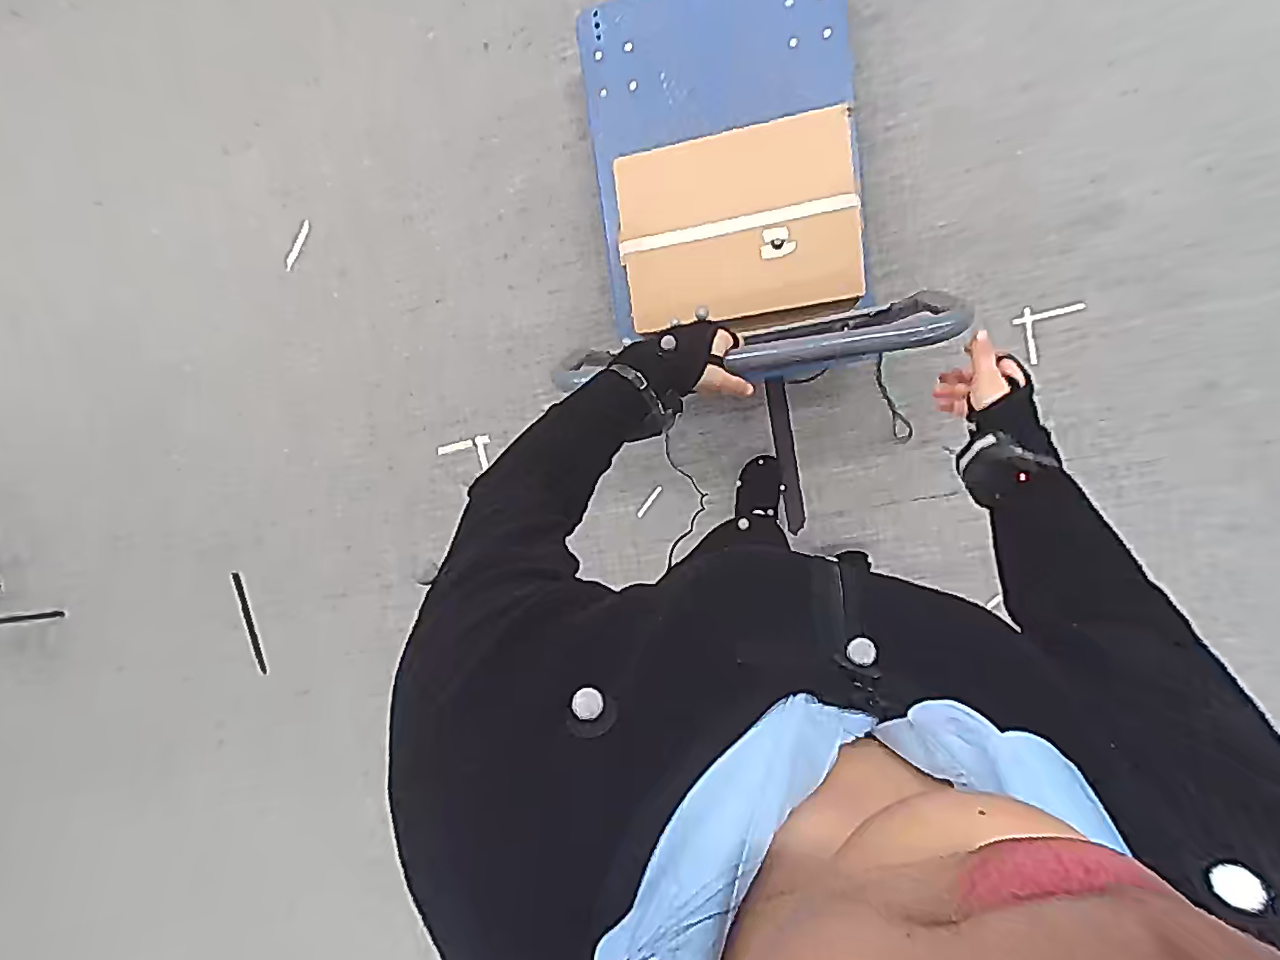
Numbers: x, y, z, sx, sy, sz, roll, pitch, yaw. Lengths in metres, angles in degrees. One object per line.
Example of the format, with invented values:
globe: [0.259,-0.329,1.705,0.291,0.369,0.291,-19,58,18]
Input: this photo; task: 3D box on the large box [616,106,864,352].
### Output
large box: [0.196,-0.463,1.096,0.408,0.320,0.320,-7,96,11]
